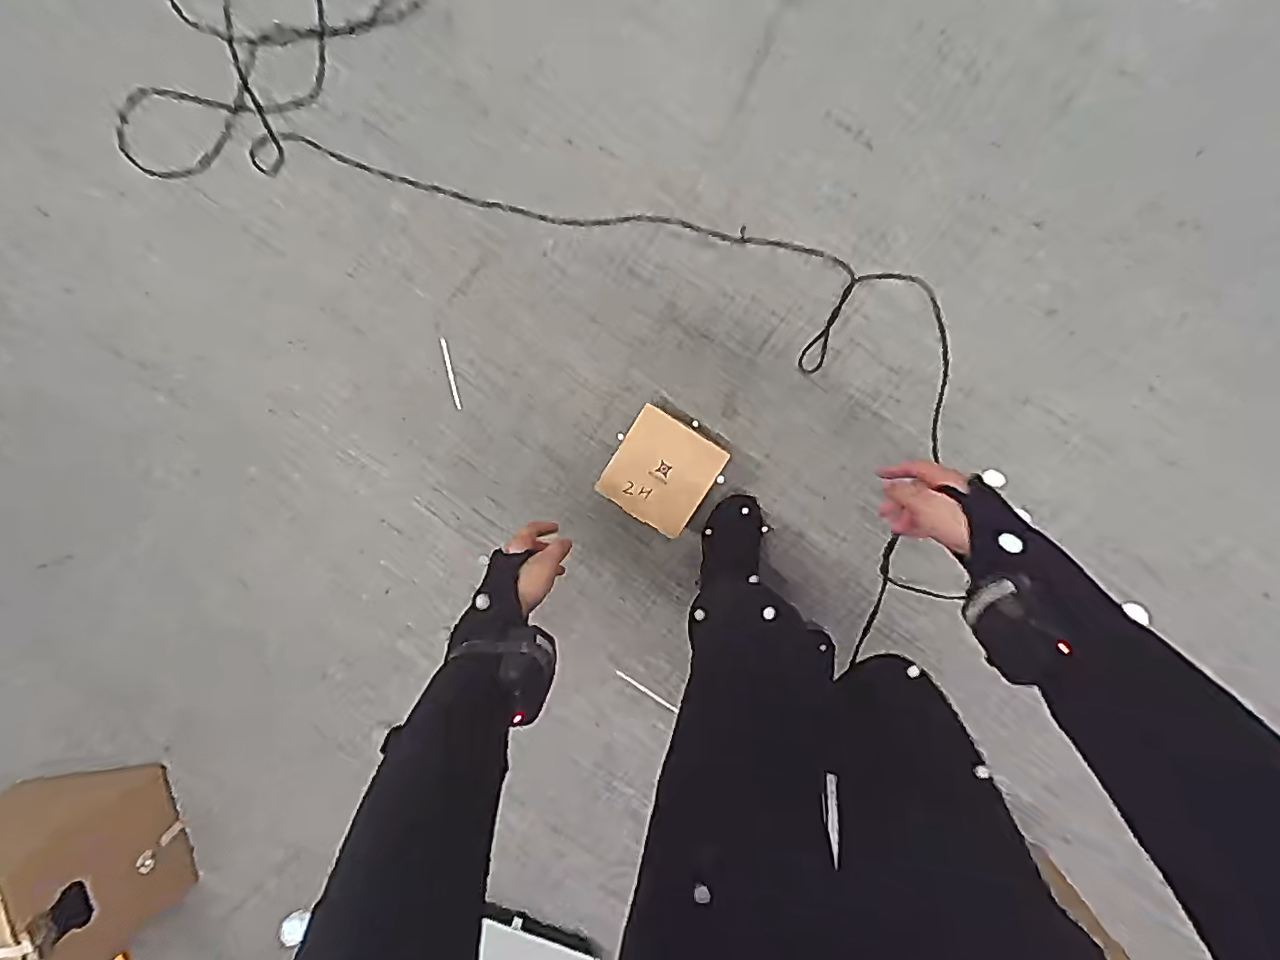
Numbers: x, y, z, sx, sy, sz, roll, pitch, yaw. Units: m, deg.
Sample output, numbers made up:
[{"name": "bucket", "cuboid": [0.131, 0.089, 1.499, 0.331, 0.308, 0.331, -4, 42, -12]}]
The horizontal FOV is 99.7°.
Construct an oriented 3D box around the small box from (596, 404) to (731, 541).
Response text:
[{"name": "small box", "cuboid": [0.044, -0.022, 0.976, 0.168, 0.176, 0.179, 32, 100, 1]}]
